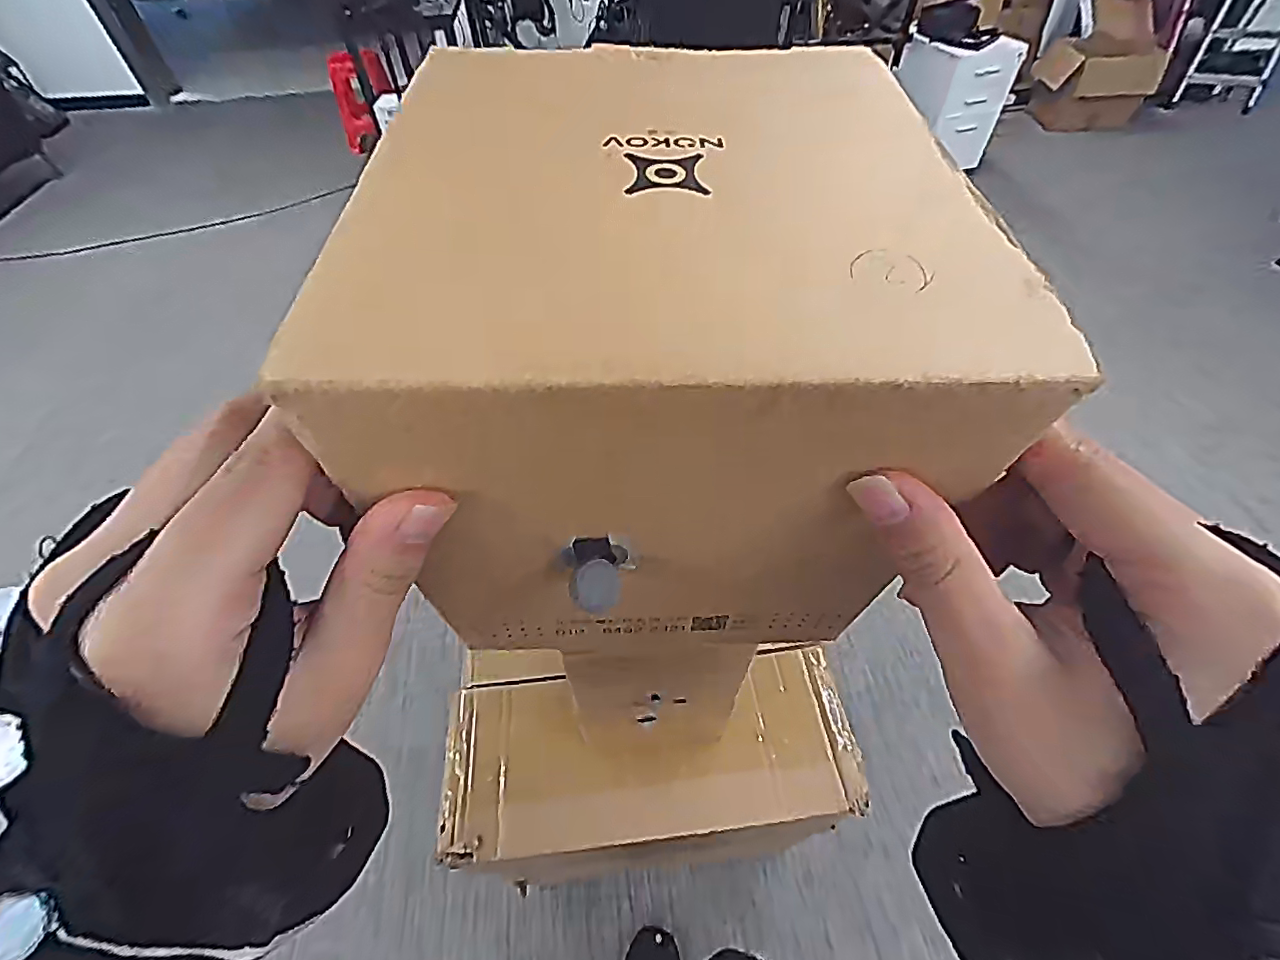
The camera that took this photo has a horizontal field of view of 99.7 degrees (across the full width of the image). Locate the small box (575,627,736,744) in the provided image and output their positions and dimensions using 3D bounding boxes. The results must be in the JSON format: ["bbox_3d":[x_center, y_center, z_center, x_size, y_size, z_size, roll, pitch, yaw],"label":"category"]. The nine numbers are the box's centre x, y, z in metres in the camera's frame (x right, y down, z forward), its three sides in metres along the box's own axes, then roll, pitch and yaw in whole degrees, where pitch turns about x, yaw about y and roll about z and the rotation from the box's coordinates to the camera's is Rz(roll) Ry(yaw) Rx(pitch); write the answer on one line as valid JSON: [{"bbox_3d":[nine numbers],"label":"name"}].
[{"bbox_3d":[0.014,0.223,0.686,0.179,0.176,0.168,-5,51,-2],"label":"small box"}]

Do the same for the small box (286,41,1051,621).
[{"bbox_3d":[0.004,-0.049,0.225,0.168,0.176,0.179,-2,55,-2],"label":"small box"}]
